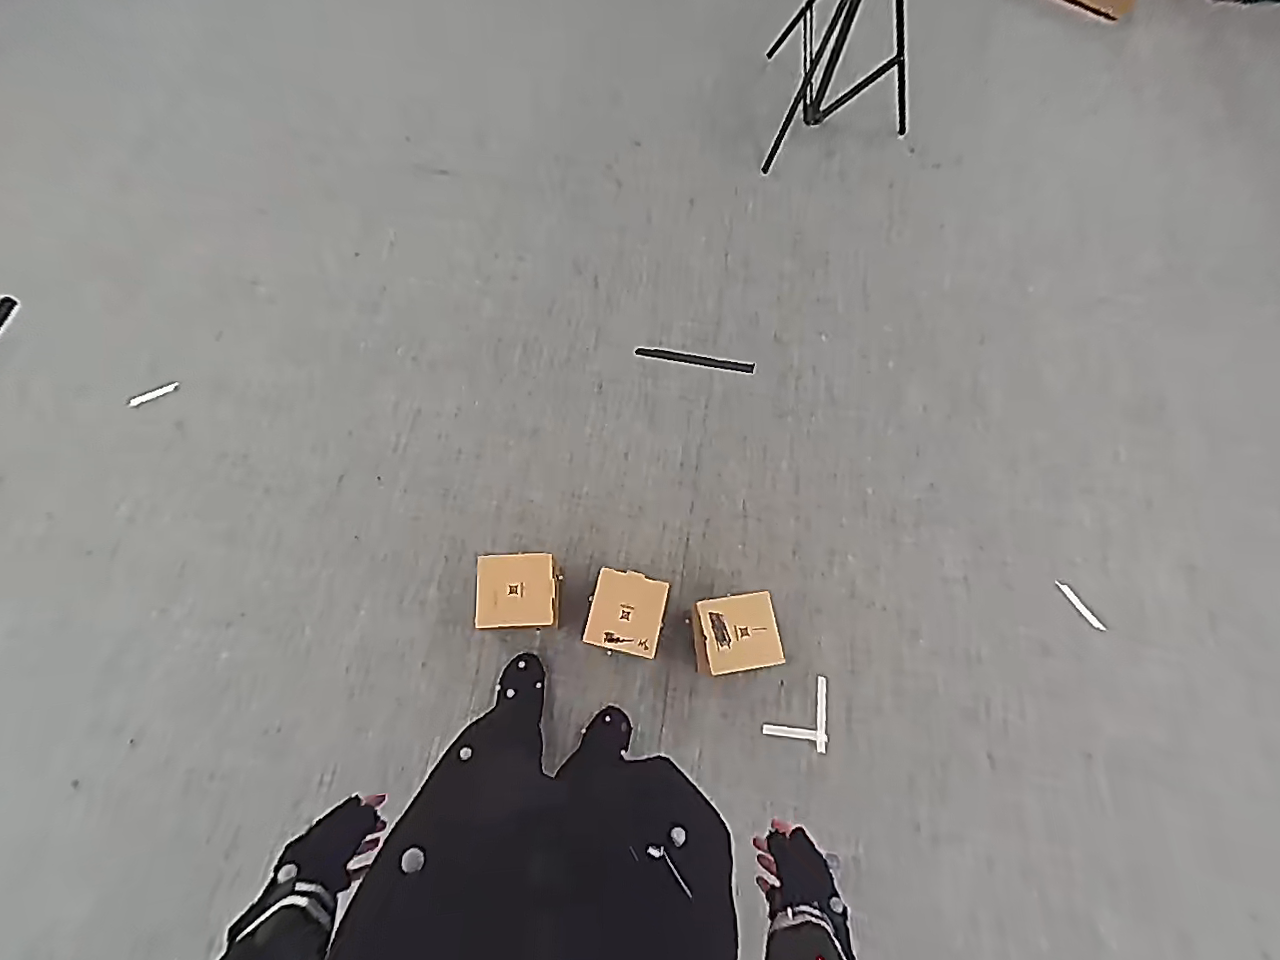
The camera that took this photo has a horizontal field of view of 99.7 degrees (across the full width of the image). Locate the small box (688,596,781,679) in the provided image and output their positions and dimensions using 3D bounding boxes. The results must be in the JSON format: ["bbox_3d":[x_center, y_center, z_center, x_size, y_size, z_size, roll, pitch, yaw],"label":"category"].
[{"bbox_3d":[0.217,0.383,1.306,0.179,0.176,0.168,-7,71,-7],"label":"small box"}]

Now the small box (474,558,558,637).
[{"bbox_3d":[-0.292,0.287,1.308,0.179,0.176,0.168,-2,70,-4],"label":"small box"}]

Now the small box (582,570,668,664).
[{"bbox_3d":[-0.039,0.336,1.307,0.168,0.176,0.179,14,70,1],"label":"small box"}]
